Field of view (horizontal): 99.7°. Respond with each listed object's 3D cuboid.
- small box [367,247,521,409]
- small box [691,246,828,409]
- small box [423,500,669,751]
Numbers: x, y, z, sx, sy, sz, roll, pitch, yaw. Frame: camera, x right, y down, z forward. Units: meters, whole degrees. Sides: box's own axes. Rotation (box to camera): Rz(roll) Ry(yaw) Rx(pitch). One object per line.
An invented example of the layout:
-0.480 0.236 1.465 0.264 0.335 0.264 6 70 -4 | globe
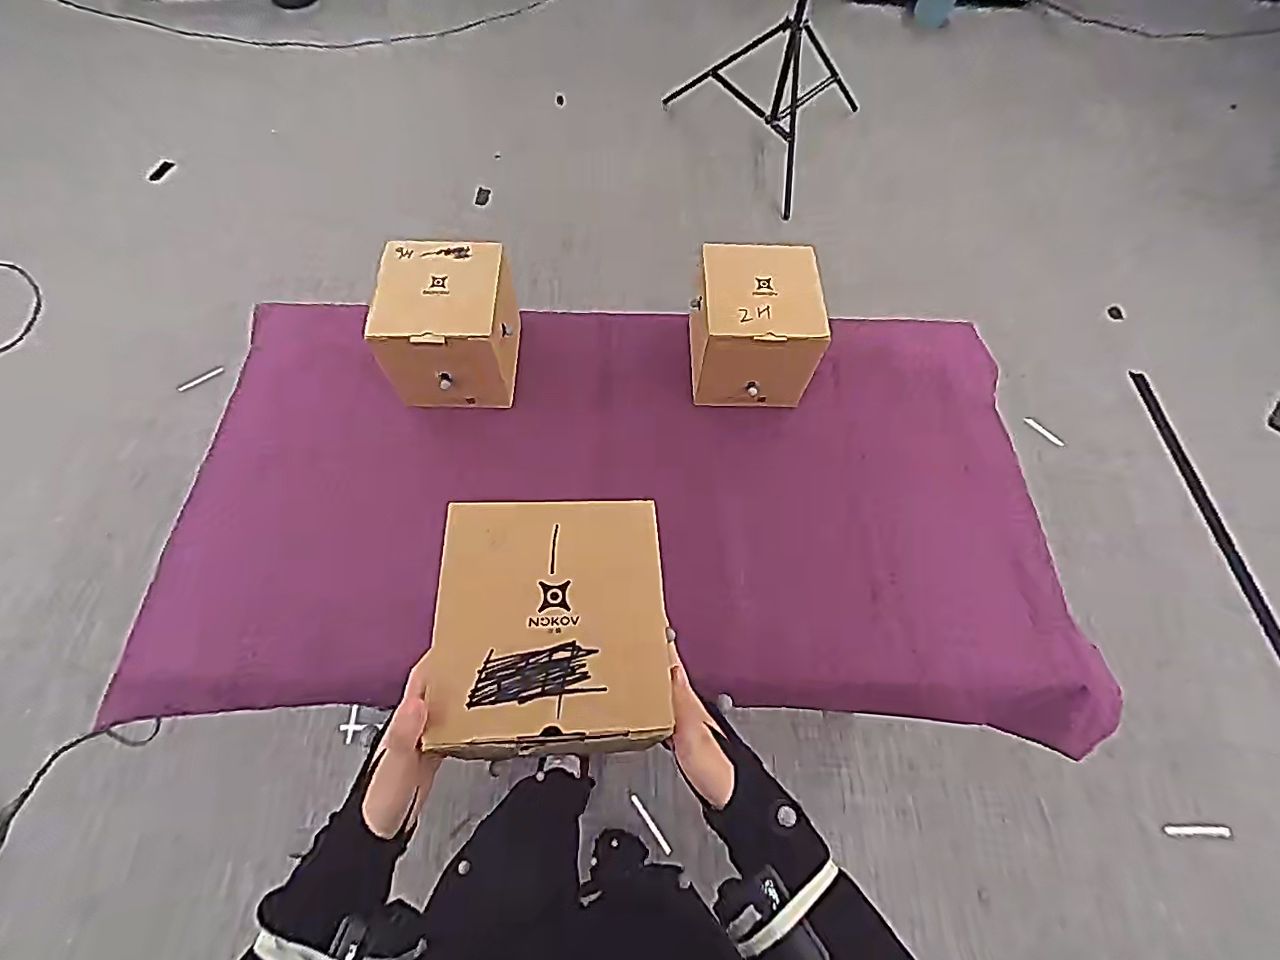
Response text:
-0.277 -0.220 0.810 0.168 0.176 0.179 0 65 -2 | small box
0.170 -0.229 0.830 0.168 0.176 0.179 0 64 -1 | small box
-0.070 0.131 0.464 0.168 0.176 0.179 0 59 -7 | small box
